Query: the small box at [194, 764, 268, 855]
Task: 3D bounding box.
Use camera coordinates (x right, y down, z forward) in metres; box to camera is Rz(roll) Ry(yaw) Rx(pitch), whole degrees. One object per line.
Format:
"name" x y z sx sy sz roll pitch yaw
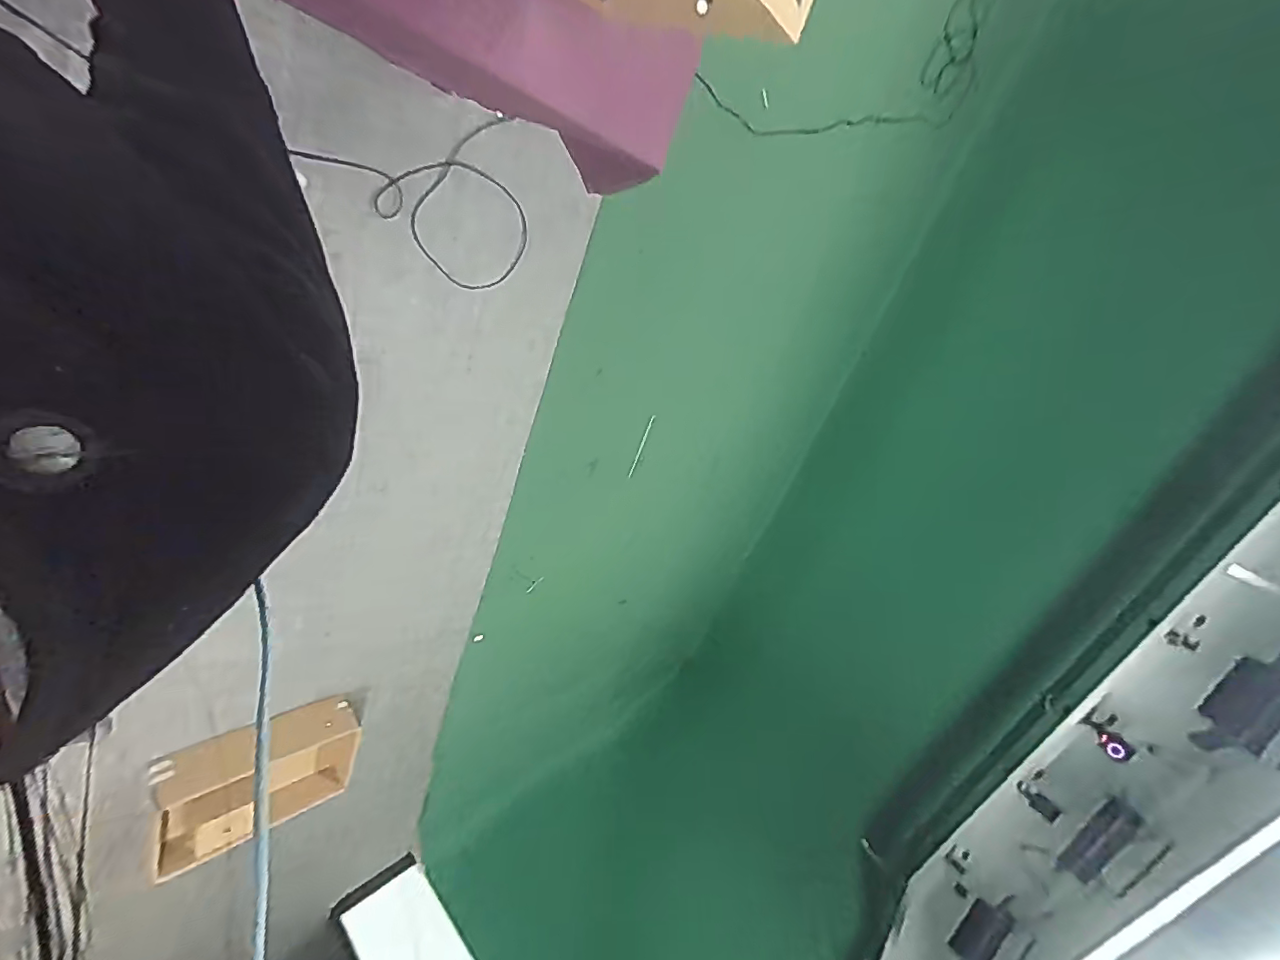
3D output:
"small box" -1.432 1.144 1.890 0.168 0.176 0.179 -8 126 -52

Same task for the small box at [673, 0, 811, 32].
"small box" 0.097 -0.609 0.556 0.179 0.176 0.168 -10 128 -49
